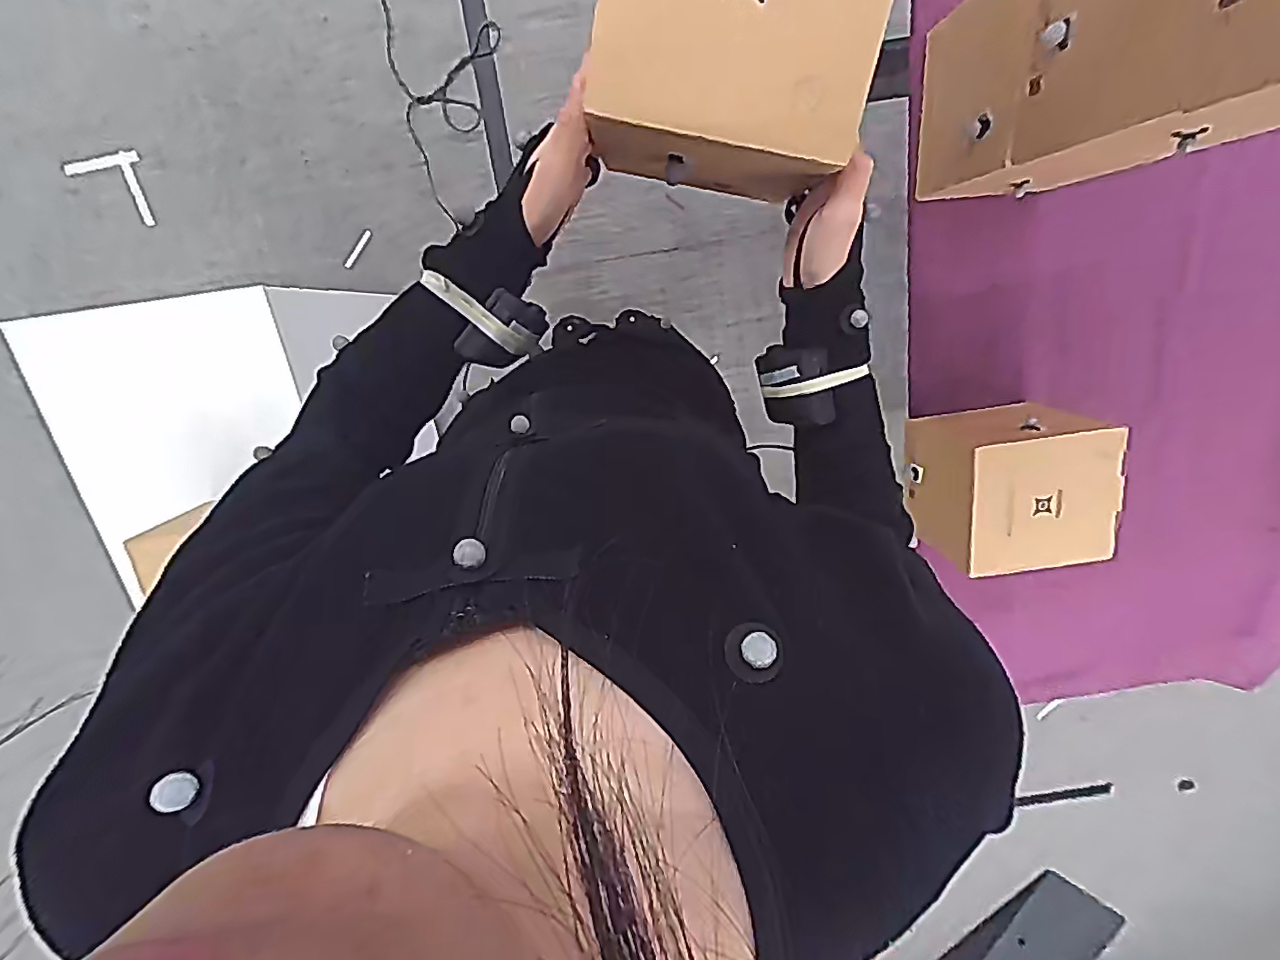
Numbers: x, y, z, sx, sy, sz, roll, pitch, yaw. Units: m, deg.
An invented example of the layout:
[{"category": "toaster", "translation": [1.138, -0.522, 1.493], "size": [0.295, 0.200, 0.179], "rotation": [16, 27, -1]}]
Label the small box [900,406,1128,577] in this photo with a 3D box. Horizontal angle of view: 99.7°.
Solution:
[{"category": "small box", "translation": [0.466, 0.006, 0.701], "size": [0.179, 0.176, 0.168], "rotation": [-8, 106, 1]}]

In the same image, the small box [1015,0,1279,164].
[{"category": "small box", "translation": [0.436, -0.356, 0.411], "size": [0.179, 0.176, 0.168], "rotation": [-5, 108, 0]}]

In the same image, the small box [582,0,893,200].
[{"category": "small box", "translation": [0.063, -0.308, 0.368], "size": [0.168, 0.176, 0.179], "rotation": [10, 108, -2]}]

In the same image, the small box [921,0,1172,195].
[{"category": "small box", "translation": [0.420, -0.408, 0.566], "size": [0.168, 0.176, 0.179], "rotation": [-5, 108, -1]}]
